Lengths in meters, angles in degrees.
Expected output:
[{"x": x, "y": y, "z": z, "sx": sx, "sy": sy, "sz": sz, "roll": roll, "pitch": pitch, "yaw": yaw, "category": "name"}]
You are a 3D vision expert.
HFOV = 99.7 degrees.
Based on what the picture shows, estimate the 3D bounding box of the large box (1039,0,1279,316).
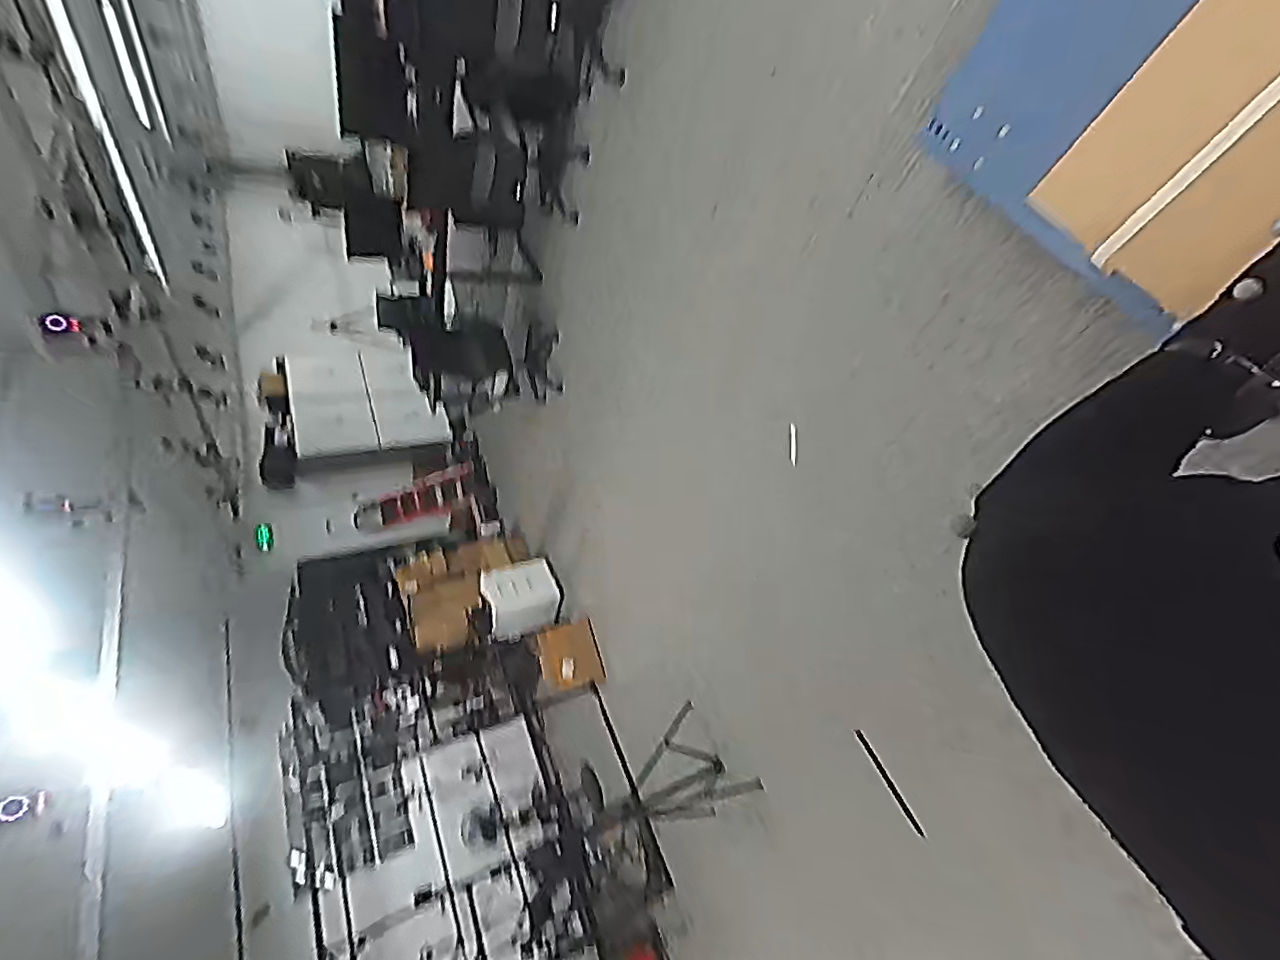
[{"x": 0.896, "y": -0.480, "z": 0.740, "sx": 0.320, "sy": 0.320, "sz": 0.408, "roll": 62, "pitch": 146, "yaw": 27, "category": "large box"}]
